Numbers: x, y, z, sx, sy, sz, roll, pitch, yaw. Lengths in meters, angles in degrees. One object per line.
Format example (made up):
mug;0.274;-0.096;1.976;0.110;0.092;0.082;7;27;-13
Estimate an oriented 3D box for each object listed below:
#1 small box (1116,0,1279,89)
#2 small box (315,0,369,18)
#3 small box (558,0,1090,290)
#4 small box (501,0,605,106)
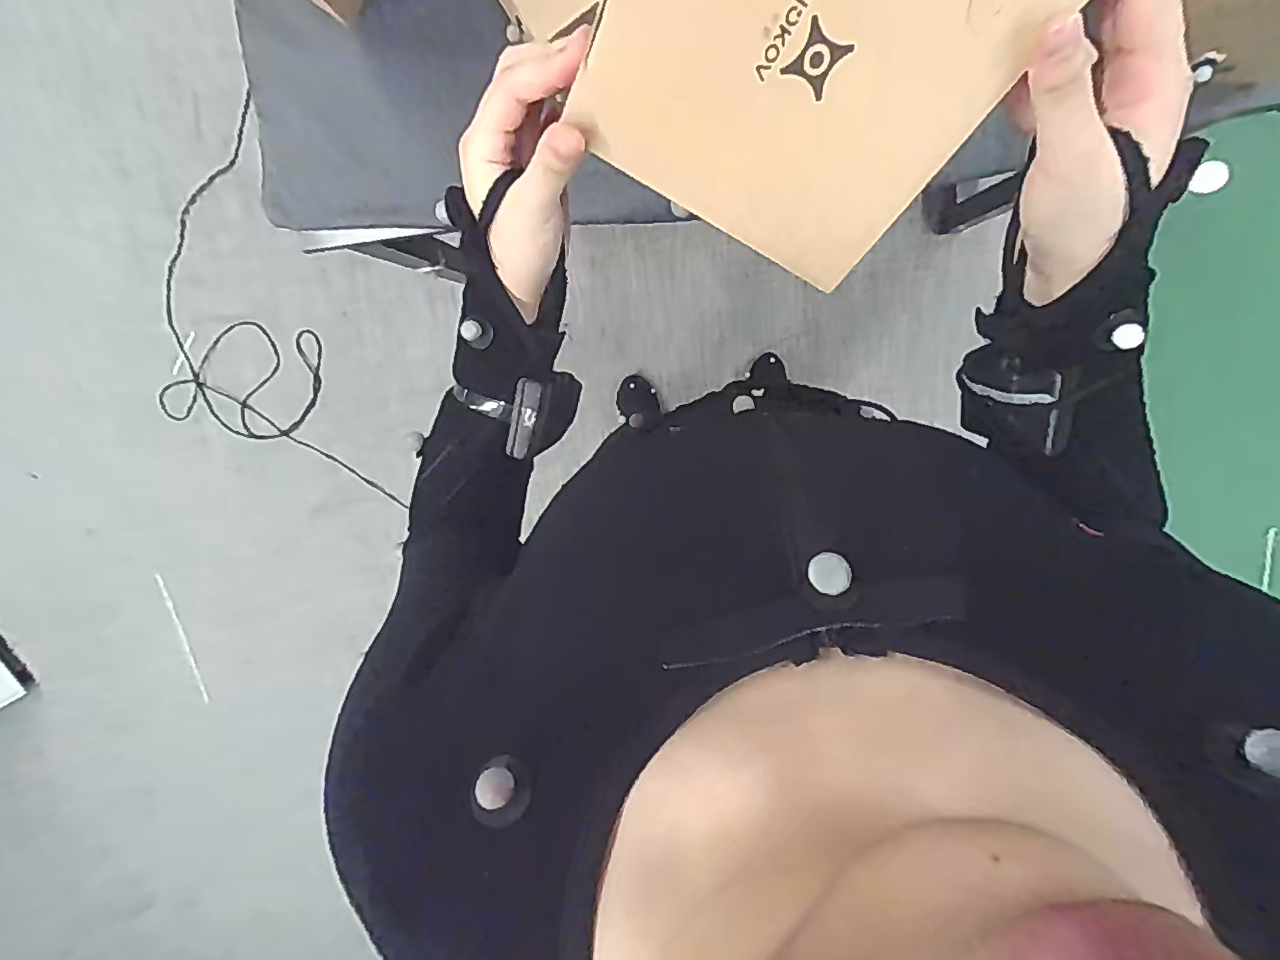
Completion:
small box;0.600;-0.507;0.504;0.168;0.176;0.179;3;100;5
small box;-0.371;-0.632;0.544;0.179;0.176;0.168;33;103;-5
small box;0.077;-0.245;0.289;0.179;0.176;0.168;21;137;-17
small box;-0.062;-0.523;0.549;0.168;0.176;0.179;-30;99;9
